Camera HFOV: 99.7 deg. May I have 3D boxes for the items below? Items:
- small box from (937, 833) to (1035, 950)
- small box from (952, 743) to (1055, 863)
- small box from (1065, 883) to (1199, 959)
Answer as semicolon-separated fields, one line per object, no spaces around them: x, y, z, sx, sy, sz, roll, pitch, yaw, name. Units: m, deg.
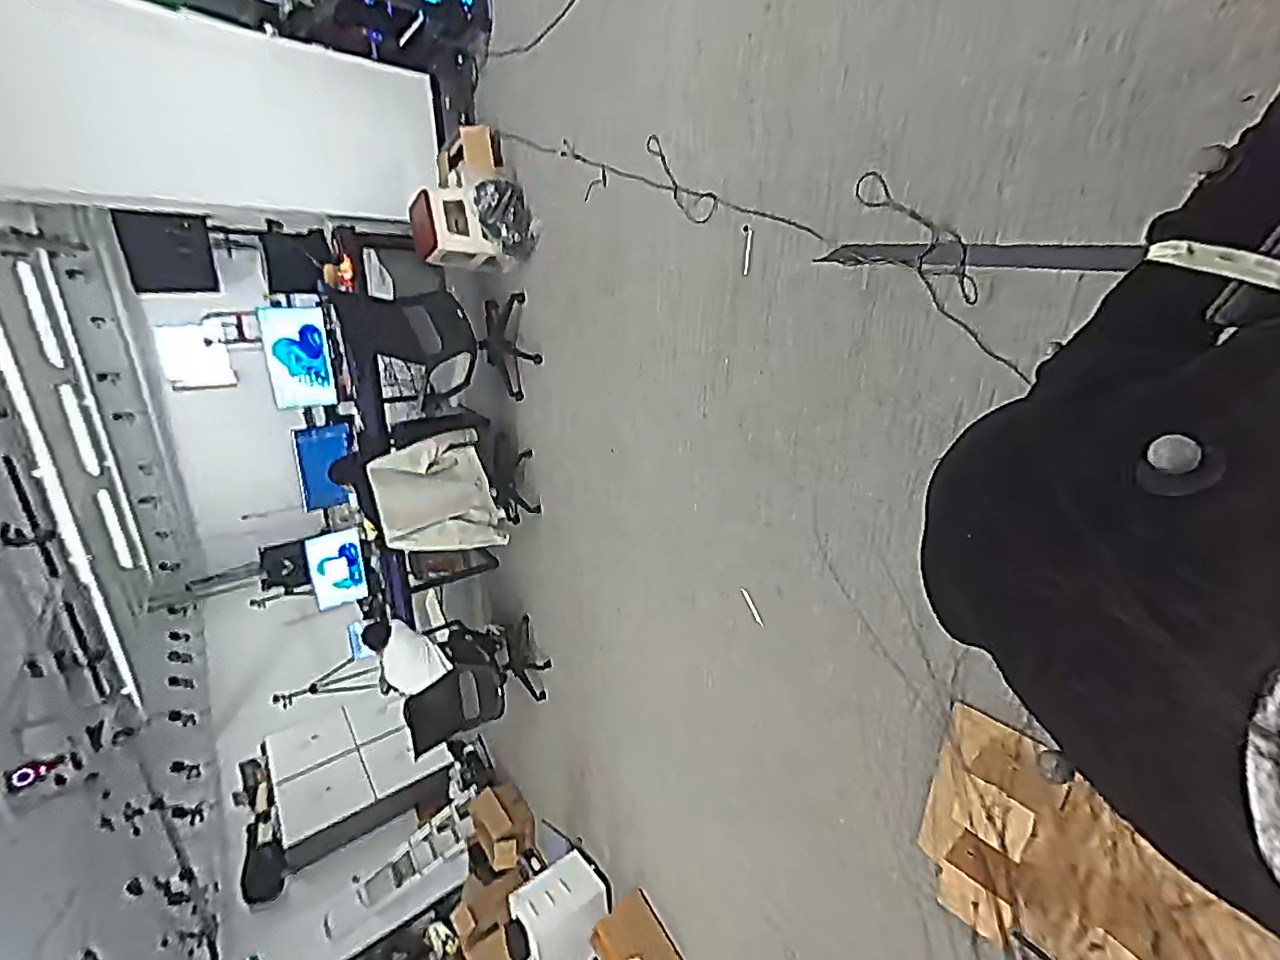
0.976;1.145;1.528;0.179;0.176;0.168;18;117;49;small box
0.967;0.850;1.438;0.168;0.176;0.179;24;119;46;small box
1.159;1.115;1.272;0.179;0.176;0.168;33;126;40;small box
